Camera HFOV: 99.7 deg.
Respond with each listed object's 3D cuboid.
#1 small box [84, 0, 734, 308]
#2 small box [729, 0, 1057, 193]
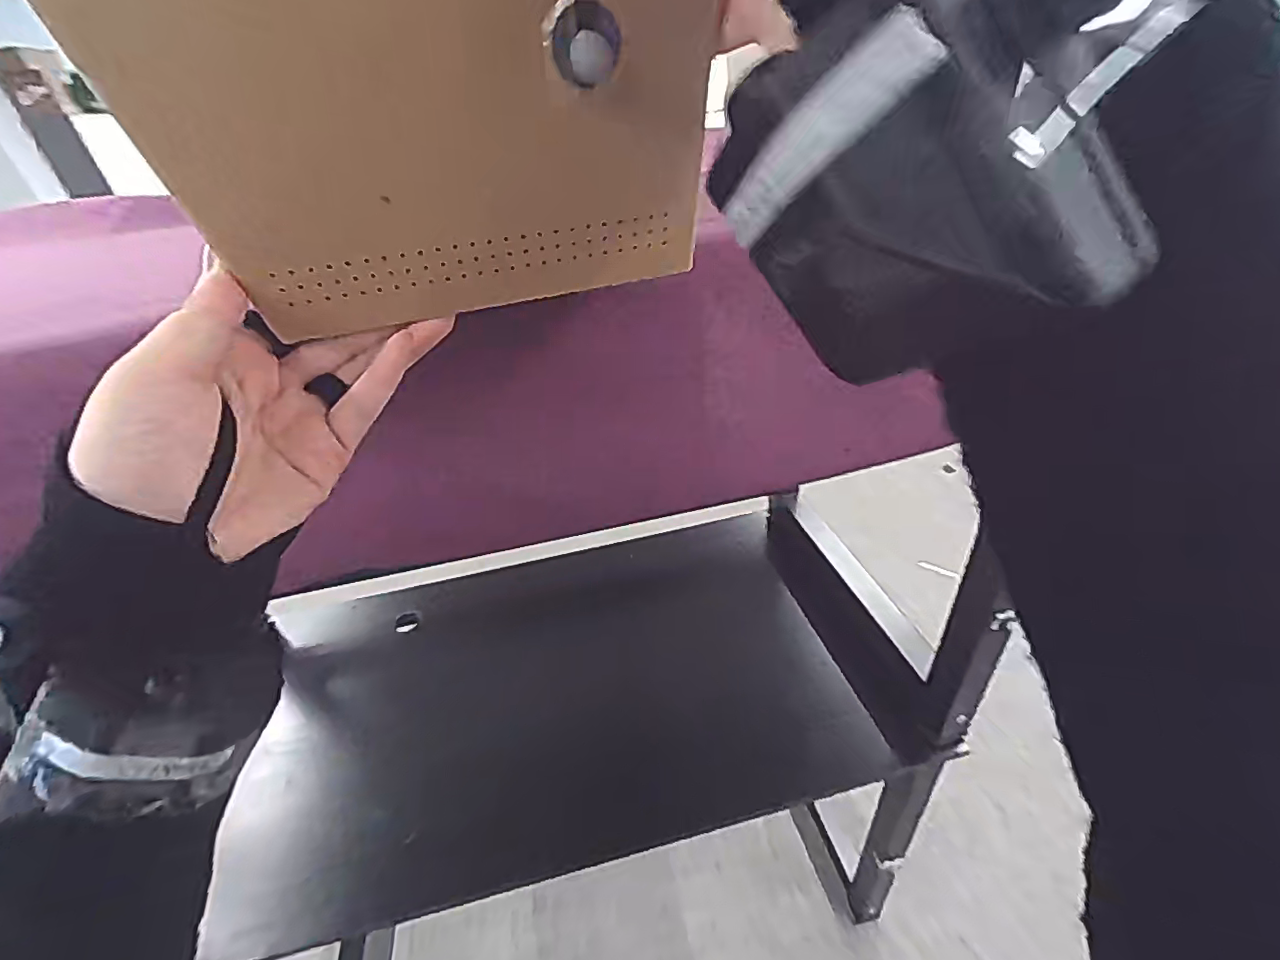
[{"bbox_3d":[-0.071,-0.189,0.194,0.179,0.176,0.168,-13,60,-9],"label":"small box"},{"bbox_3d":[0.170,-0.325,0.402,0.179,0.176,0.168,-10,34,-4],"label":"small box"}]
